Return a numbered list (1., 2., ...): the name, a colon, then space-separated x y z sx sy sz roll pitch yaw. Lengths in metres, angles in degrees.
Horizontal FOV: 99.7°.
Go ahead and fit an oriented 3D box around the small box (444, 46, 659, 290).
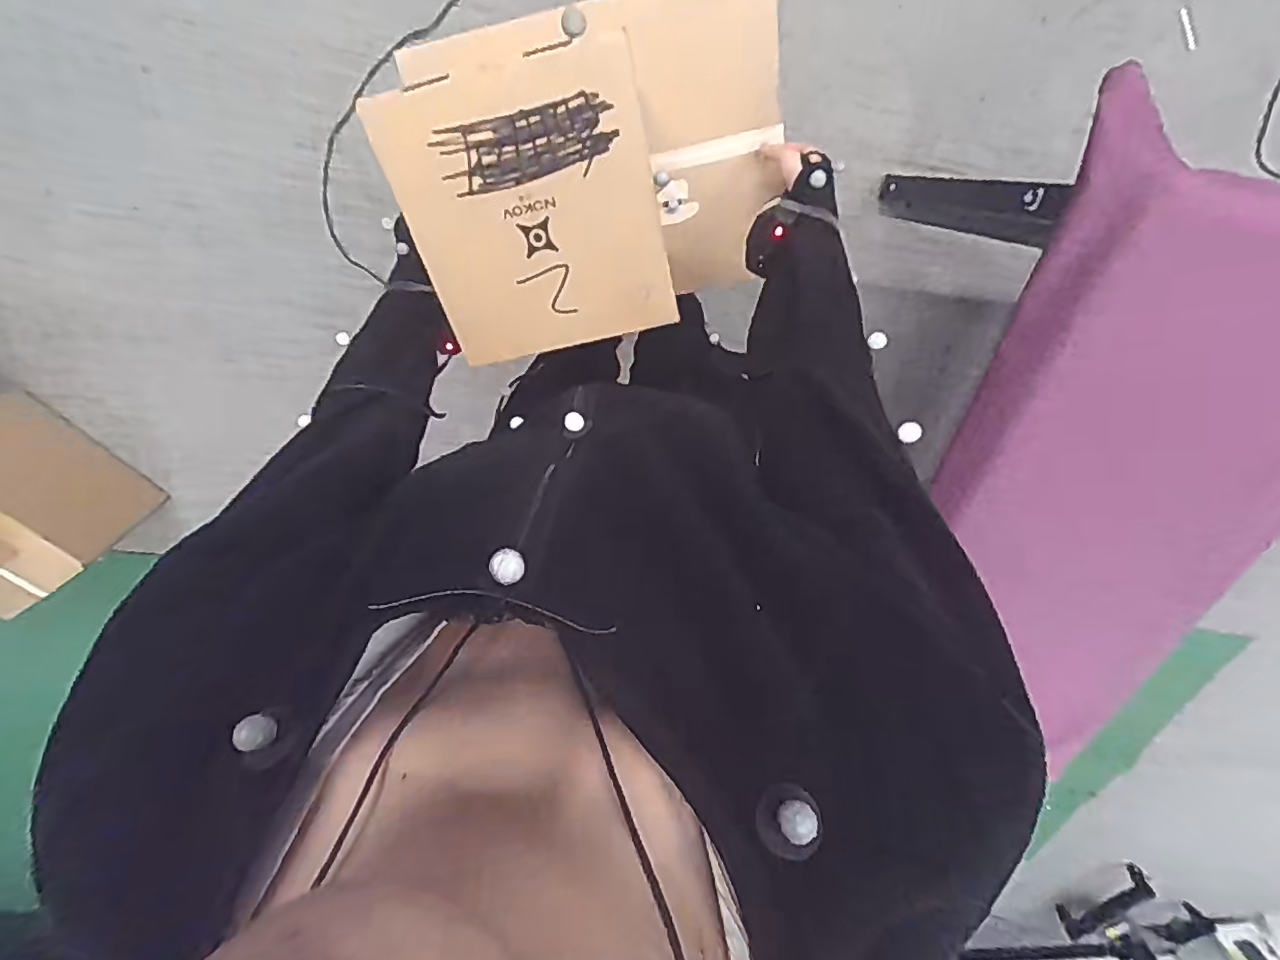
1. small box: -0.075 -0.314 0.552 0.168 0.176 0.179 -7 125 3
